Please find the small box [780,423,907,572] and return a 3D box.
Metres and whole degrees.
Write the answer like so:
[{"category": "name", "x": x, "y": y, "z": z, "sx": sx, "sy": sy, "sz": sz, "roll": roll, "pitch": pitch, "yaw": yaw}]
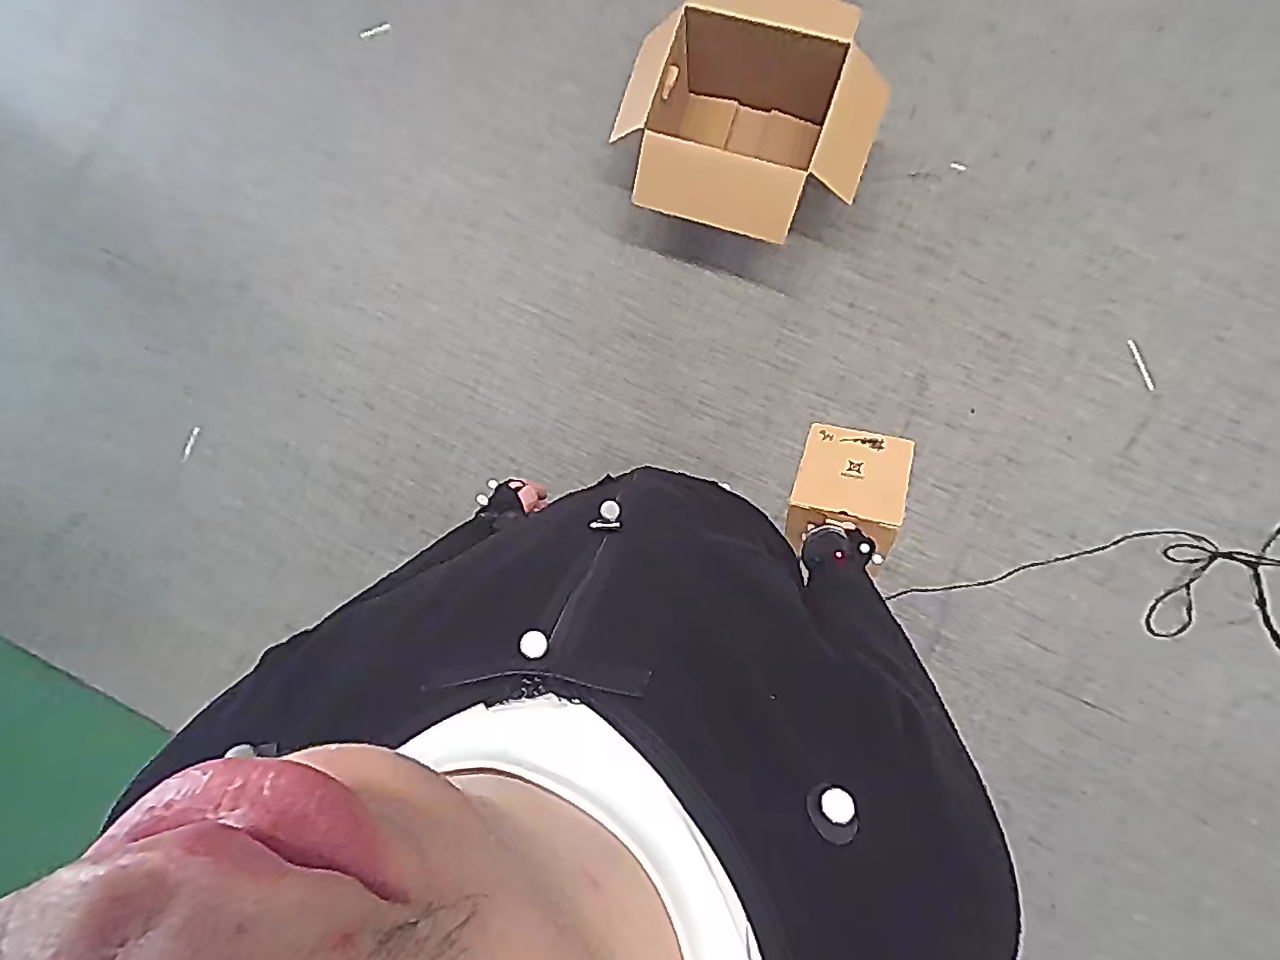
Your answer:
[{"category": "small box", "x": 0.342, "y": 0.032, "z": 0.925, "sx": 0.168, "sy": 0.176, "sz": 0.179, "roll": 14, "pitch": 57, "yaw": 21}]
